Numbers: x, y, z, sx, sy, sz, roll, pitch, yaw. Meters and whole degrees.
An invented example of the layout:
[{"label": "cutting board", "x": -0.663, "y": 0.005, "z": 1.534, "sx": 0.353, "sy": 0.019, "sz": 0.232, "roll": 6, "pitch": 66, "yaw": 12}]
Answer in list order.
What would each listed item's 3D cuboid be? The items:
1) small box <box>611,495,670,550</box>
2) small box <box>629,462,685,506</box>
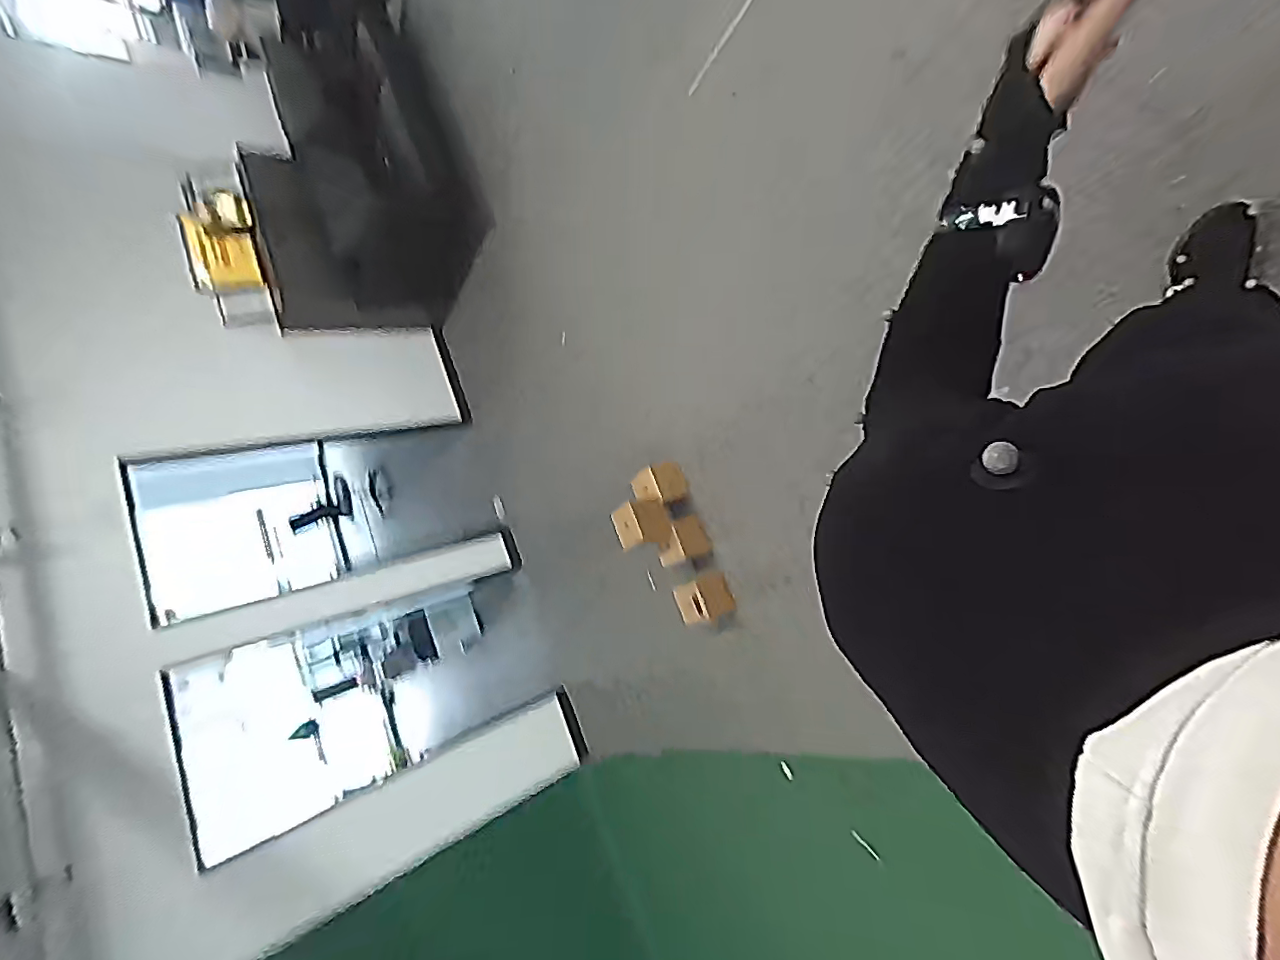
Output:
[{"label": "small box", "x": 0.005, "y": 0.182, "z": 2.351, "sx": 0.168, "sy": 0.176, "sz": 0.179, "roll": -37, "pitch": 70, "yaw": 49}, {"label": "small box", "x": 0.087, "y": 0.028, "z": 2.472, "sx": 0.179, "sy": 0.176, "sz": 0.168, "roll": -34, "pitch": 73, "yaw": 50}]
